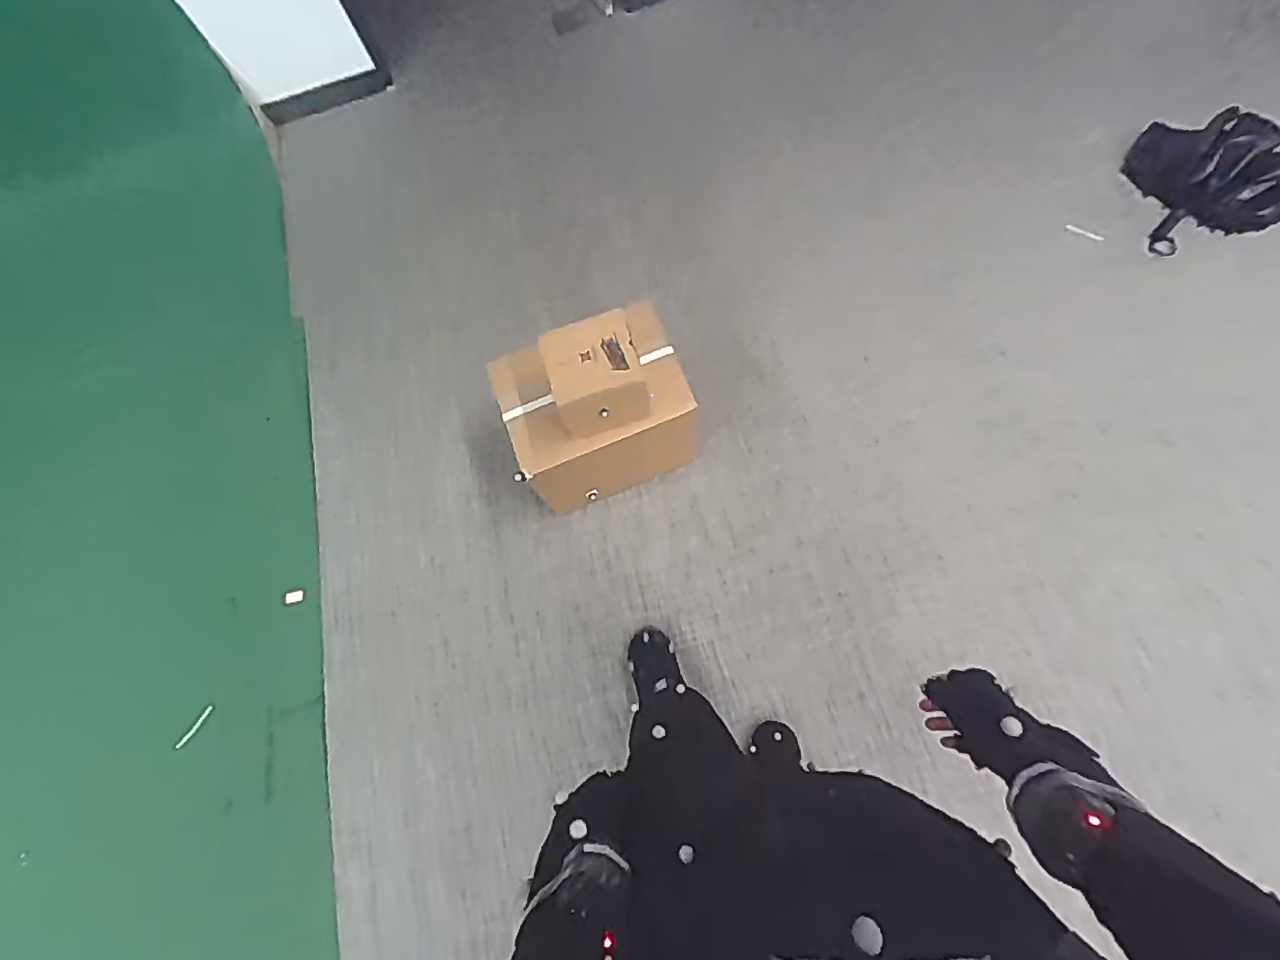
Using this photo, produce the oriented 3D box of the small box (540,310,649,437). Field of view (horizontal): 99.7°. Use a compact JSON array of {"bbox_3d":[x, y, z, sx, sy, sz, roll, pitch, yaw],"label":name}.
[{"bbox_3d":[-0.085,-0.209,1.102,0.179,0.176,0.168,-17,71,1],"label":"small box"}]
